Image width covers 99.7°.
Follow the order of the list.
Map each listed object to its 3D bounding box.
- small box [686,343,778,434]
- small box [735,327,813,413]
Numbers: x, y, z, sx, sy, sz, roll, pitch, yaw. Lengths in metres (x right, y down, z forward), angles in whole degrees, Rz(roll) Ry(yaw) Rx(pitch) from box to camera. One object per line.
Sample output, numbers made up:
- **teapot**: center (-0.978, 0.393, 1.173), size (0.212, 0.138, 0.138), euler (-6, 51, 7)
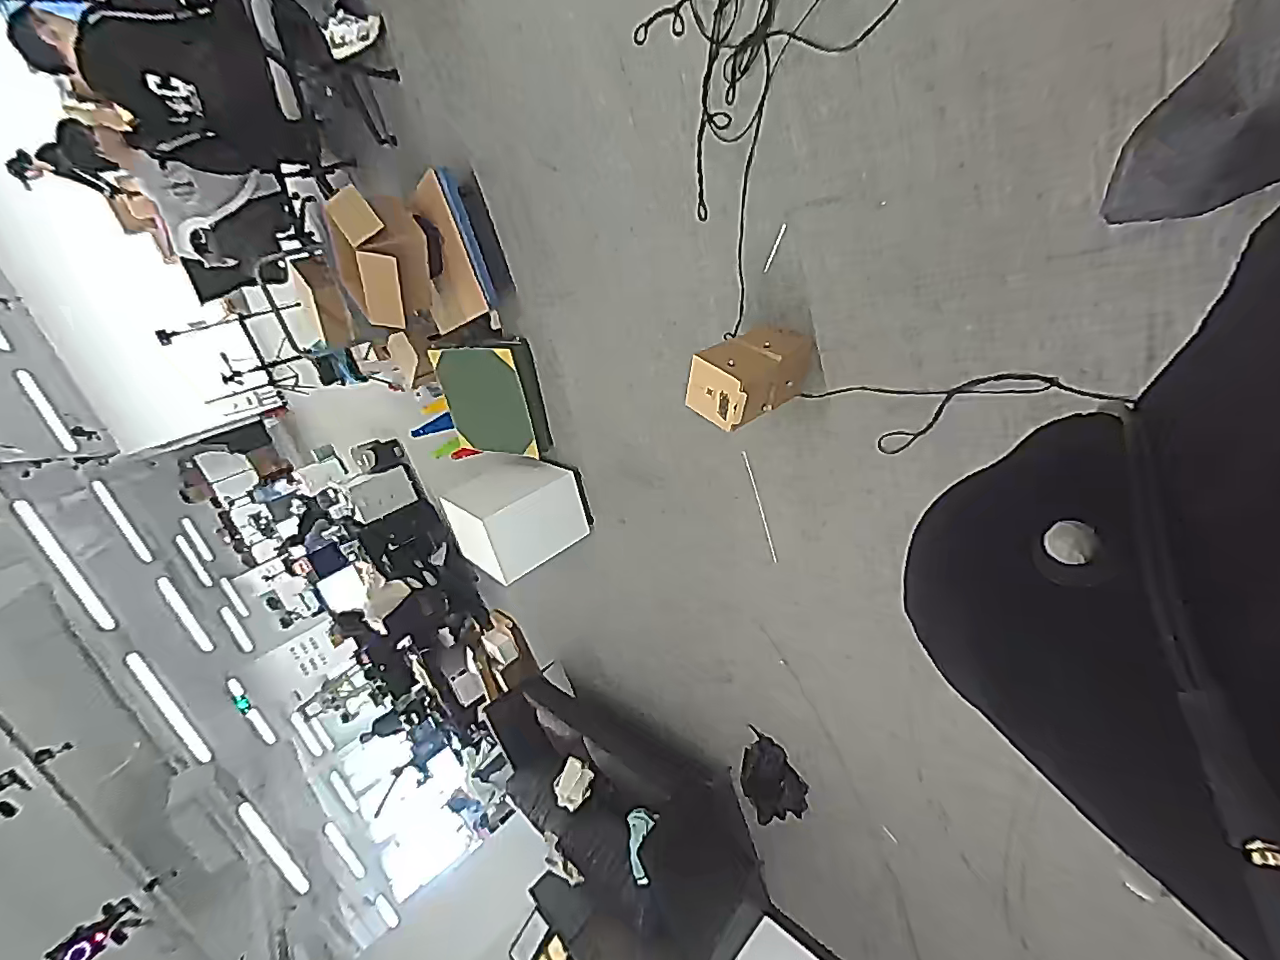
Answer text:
- **small box**: center (0.258, -0.263, 1.512), size (0.179, 0.176, 0.168), euler (38, 140, 31)
- **small box**: center (0.385, -0.329, 1.594), size (0.168, 0.176, 0.179), euler (34, 138, 34)
